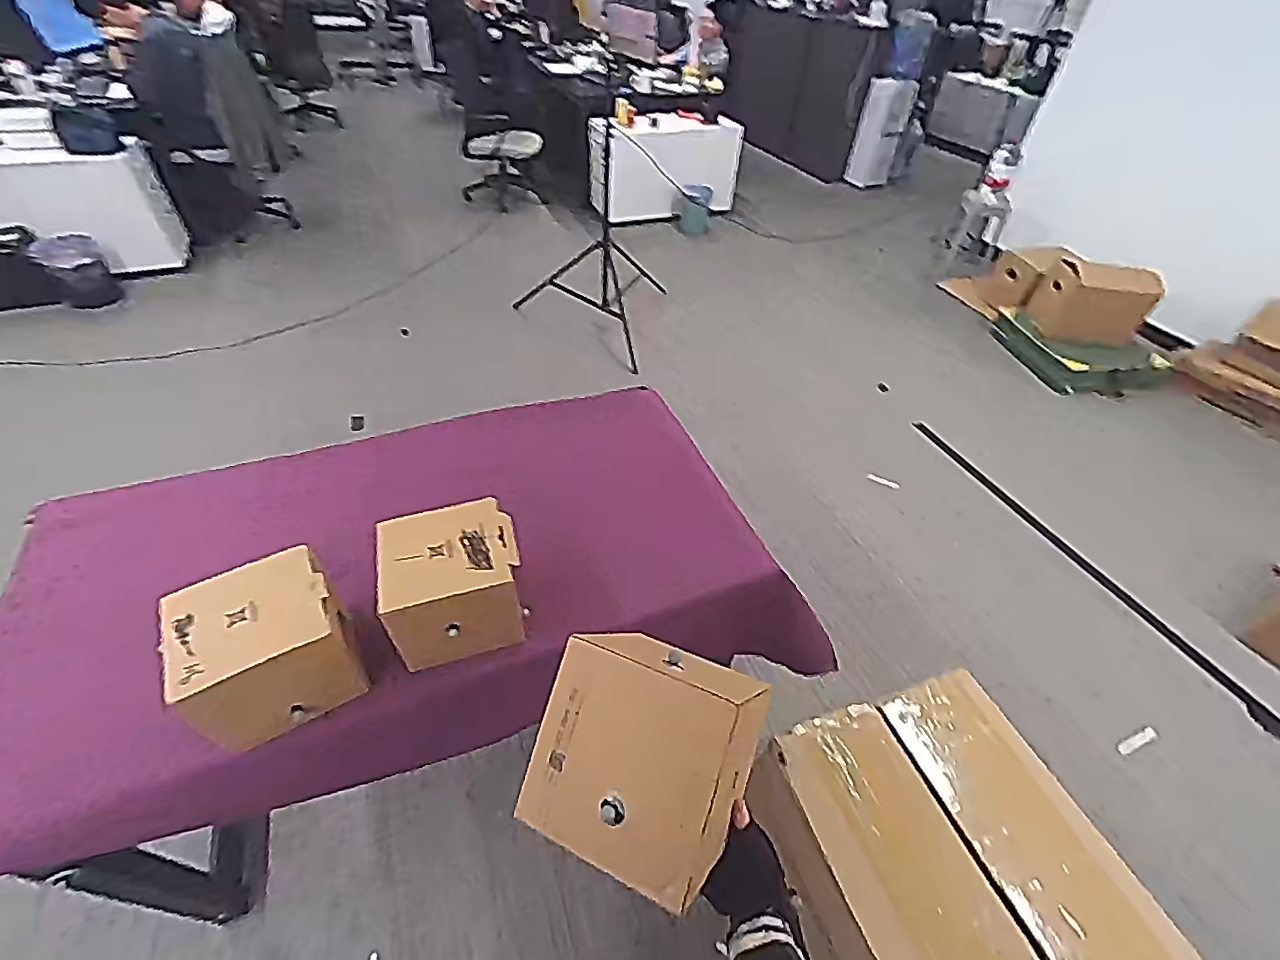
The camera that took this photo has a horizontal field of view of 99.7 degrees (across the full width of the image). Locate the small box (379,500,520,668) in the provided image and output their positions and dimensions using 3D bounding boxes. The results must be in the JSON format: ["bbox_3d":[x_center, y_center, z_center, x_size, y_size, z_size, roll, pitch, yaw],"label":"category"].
[{"bbox_3d":[-0.285,0.160,0.830,0.179,0.176,0.168,-12,46,-15],"label":"small box"}]

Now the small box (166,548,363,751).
[{"bbox_3d":[-0.502,0.231,0.744,0.179,0.176,0.168,-22,50,-26],"label":"small box"}]

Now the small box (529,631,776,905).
[{"bbox_3d":[0.019,0.258,0.536,0.176,0.179,0.168,15,81,26],"label":"small box"}]
